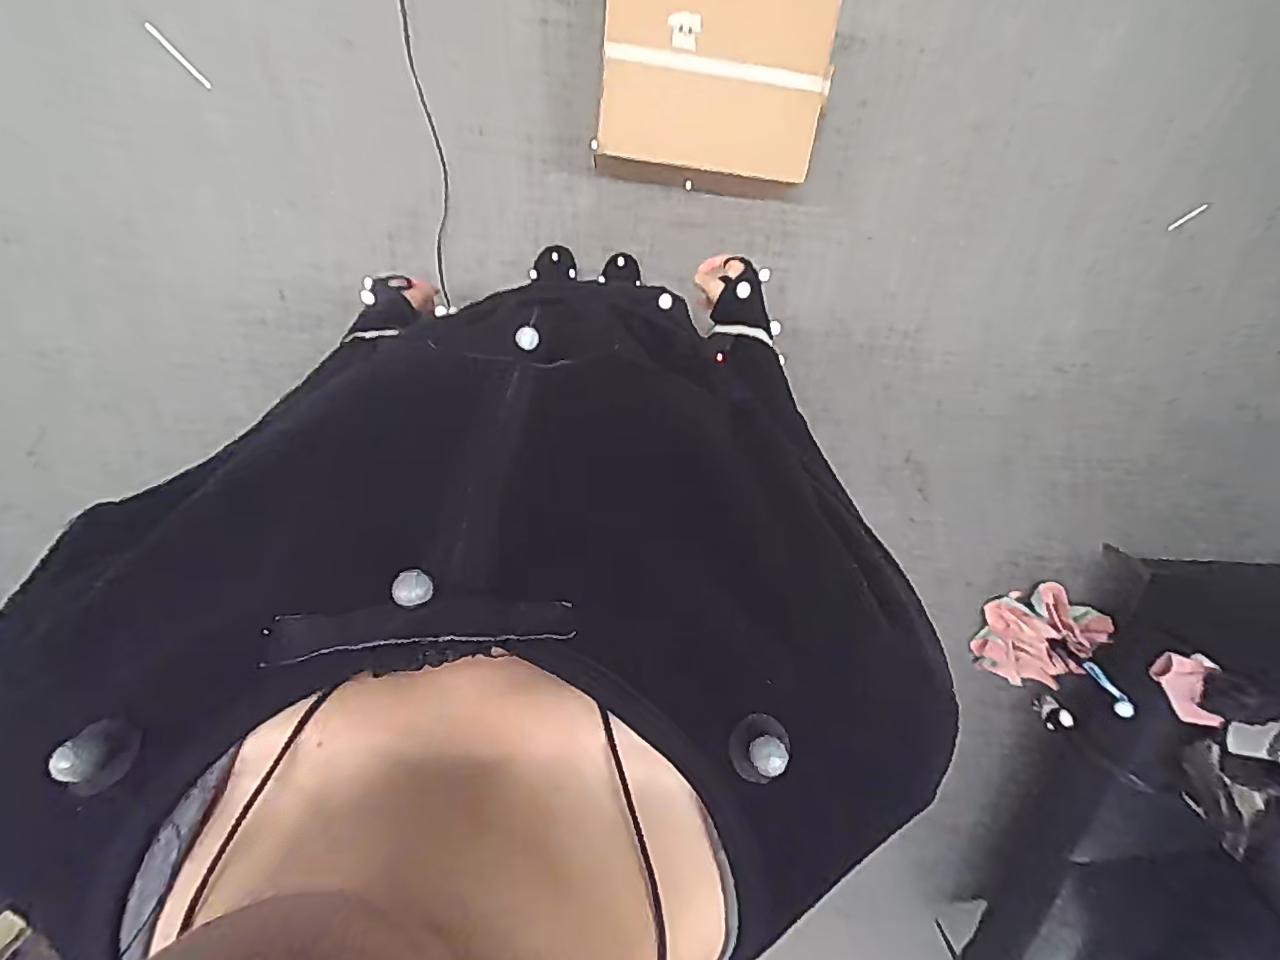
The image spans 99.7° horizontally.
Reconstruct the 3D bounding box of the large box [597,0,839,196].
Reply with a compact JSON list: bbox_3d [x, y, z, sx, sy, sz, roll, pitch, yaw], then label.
[{"bbox_3d":[0.128,-0.783,1.106,0.408,0.320,0.320,5,112,-6],"label":"large box"}]
